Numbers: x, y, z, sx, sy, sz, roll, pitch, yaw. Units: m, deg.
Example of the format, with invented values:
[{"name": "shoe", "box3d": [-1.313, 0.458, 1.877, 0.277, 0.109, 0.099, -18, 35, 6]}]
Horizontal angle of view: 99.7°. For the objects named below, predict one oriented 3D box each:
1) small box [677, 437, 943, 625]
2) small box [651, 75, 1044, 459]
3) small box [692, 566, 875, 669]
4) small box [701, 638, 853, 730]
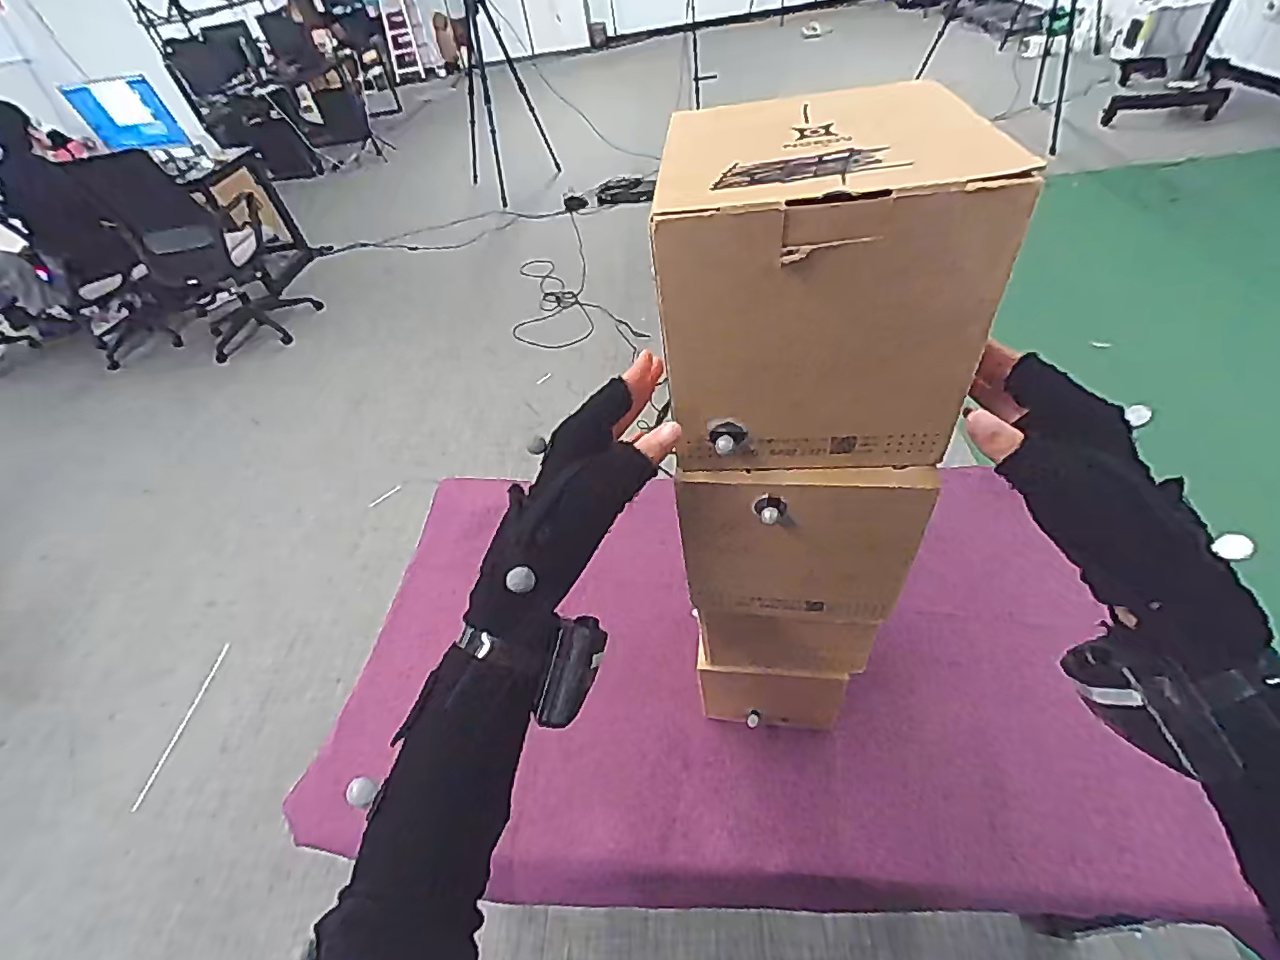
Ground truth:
[{"name": "small box", "box3d": [0.129, -0.003, 0.454, 0.168, 0.176, 0.179, 1, 47, 13]}, {"name": "small box", "box3d": [0.105, -0.125, 0.344, 0.168, 0.176, 0.179, -1, 46, 9]}, {"name": "small box", "box3d": [0.154, 0.090, 0.586, 0.179, 0.176, 0.168, -1, 47, 11]}, {"name": "small box", "box3d": [0.171, 0.201, 0.703, 0.168, 0.176, 0.179, 0, 48, 12]}]
